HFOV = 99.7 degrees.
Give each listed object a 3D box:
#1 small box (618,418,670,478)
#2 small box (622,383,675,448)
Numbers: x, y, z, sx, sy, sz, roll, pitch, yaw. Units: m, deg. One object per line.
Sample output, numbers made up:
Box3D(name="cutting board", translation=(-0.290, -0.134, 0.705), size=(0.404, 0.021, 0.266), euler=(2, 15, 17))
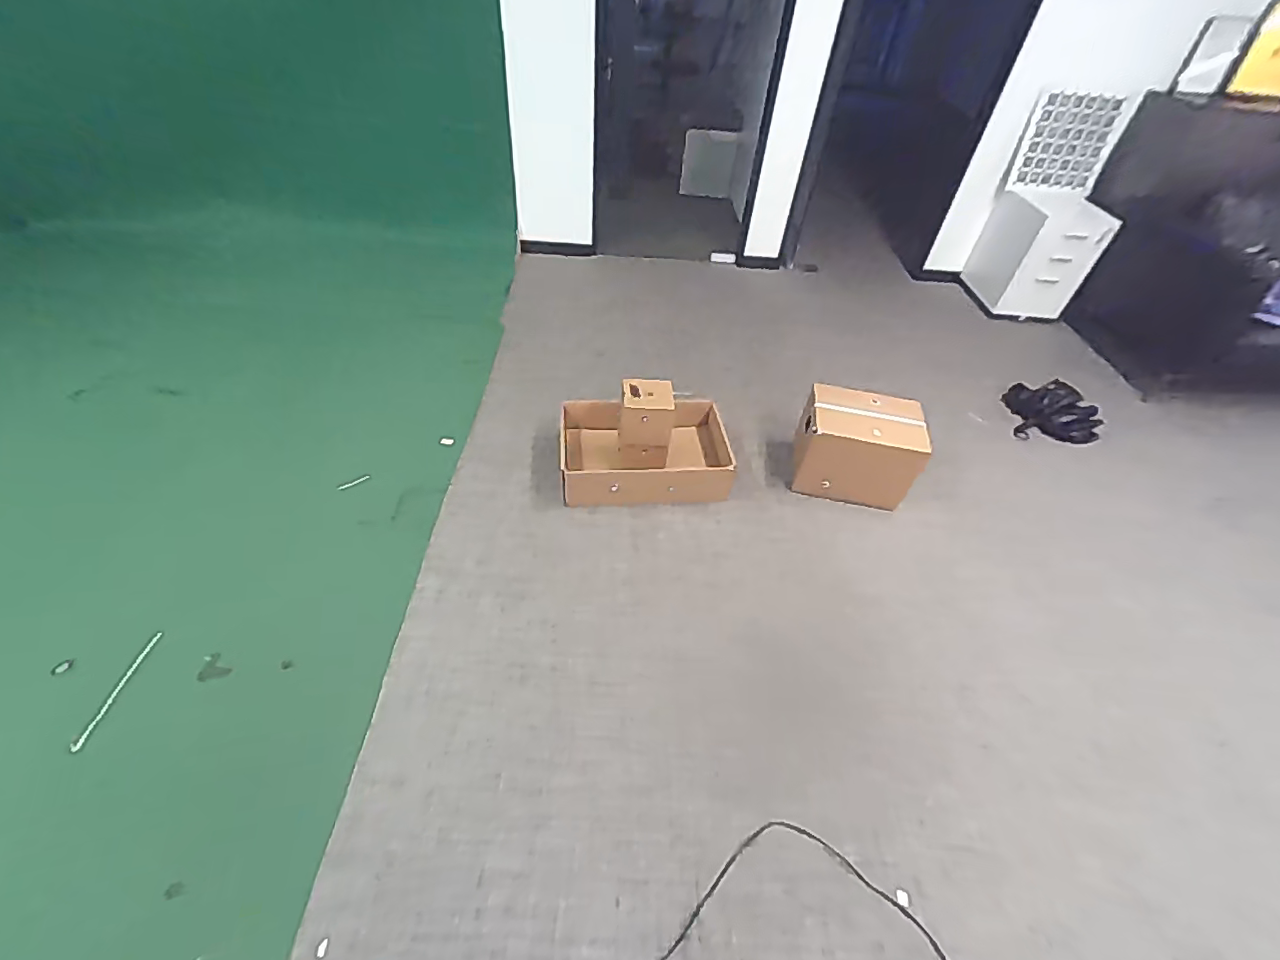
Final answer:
Box3D(name="small box", translation=(0.009, -0.120, 2.049), size=(0.179, 0.176, 0.168), euler=(0, 46, -8))
Box3D(name="small box", translation=(0.024, -0.227, 1.925), size=(0.179, 0.176, 0.168), euler=(2, 45, -6))
